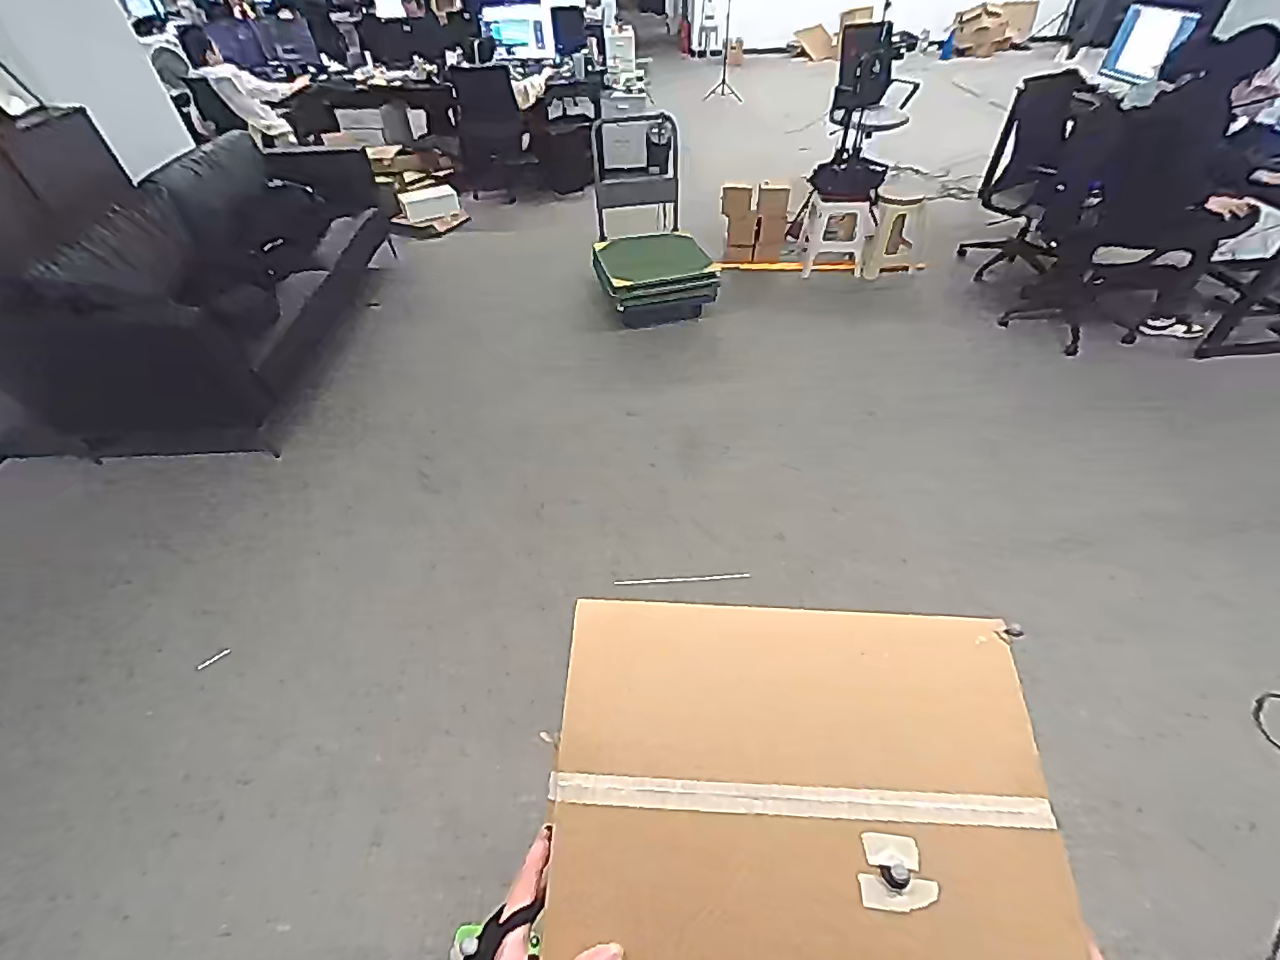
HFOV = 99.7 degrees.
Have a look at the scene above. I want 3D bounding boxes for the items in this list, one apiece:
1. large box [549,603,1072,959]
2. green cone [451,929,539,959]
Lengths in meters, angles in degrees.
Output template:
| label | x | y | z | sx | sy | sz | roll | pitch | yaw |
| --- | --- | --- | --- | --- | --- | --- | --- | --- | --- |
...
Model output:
| label | x | y | z | sx | sy | sz | roll | pitch | yaw |
| --- | --- | --- | --- | --- | --- | --- | --- | --- | --- |
| large box | 0.130 | 0.332 | 0.591 | 0.408 | 0.320 | 0.320 | 2 | 63 | 1 |
| green cone | -0.340 | 1.005 | 1.061 | 0.200 | 0.368 | 0.202 | 1 | 47 | 4 |
